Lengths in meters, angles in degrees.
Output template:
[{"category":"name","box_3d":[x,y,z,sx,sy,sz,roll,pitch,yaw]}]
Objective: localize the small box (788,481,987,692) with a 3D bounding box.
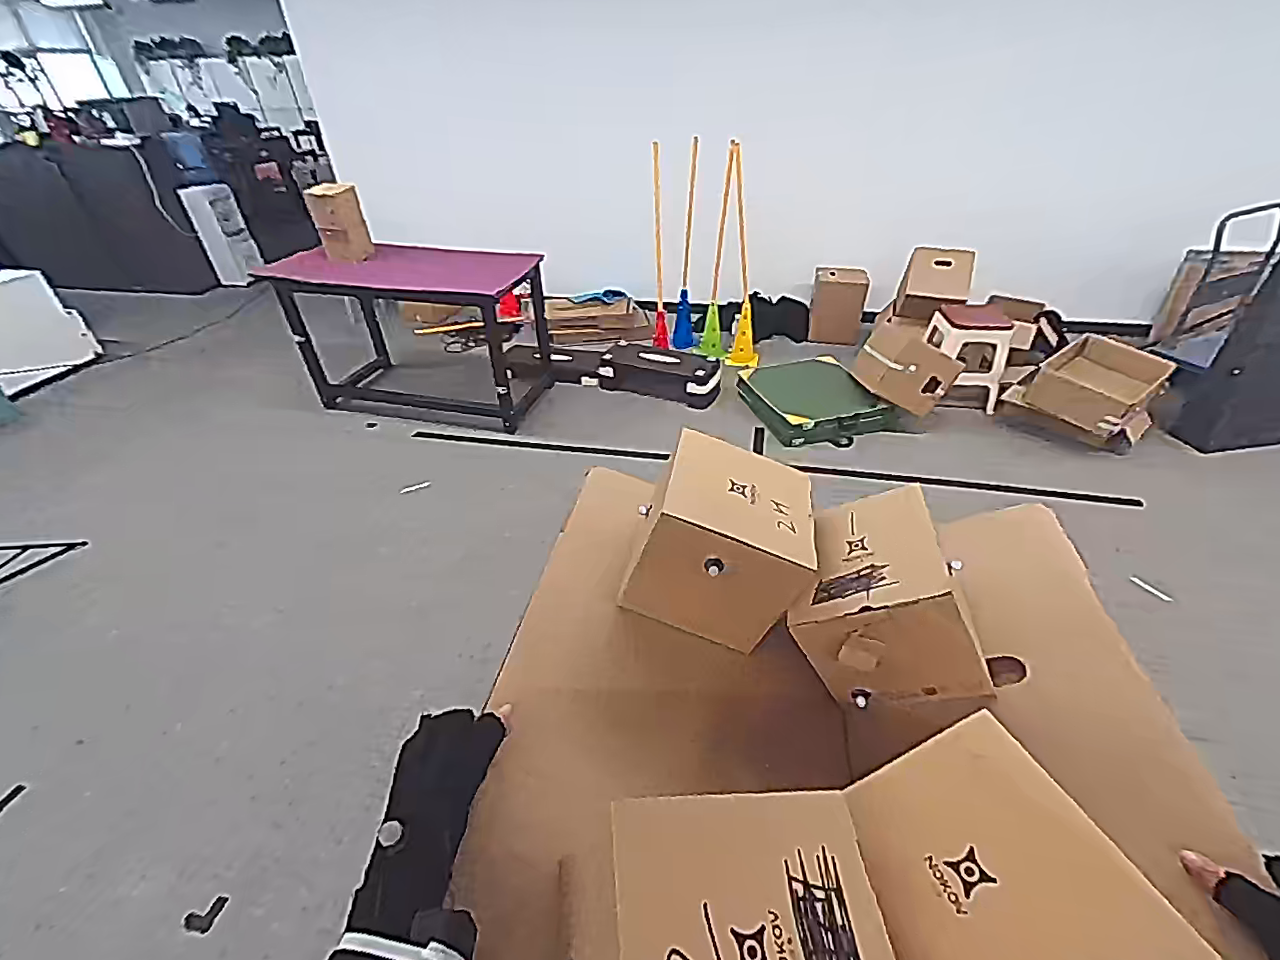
[{"category":"small box","box_3d":[0.292,0.137,0.655,0.168,0.176,0.179,-21,28,29]}]
